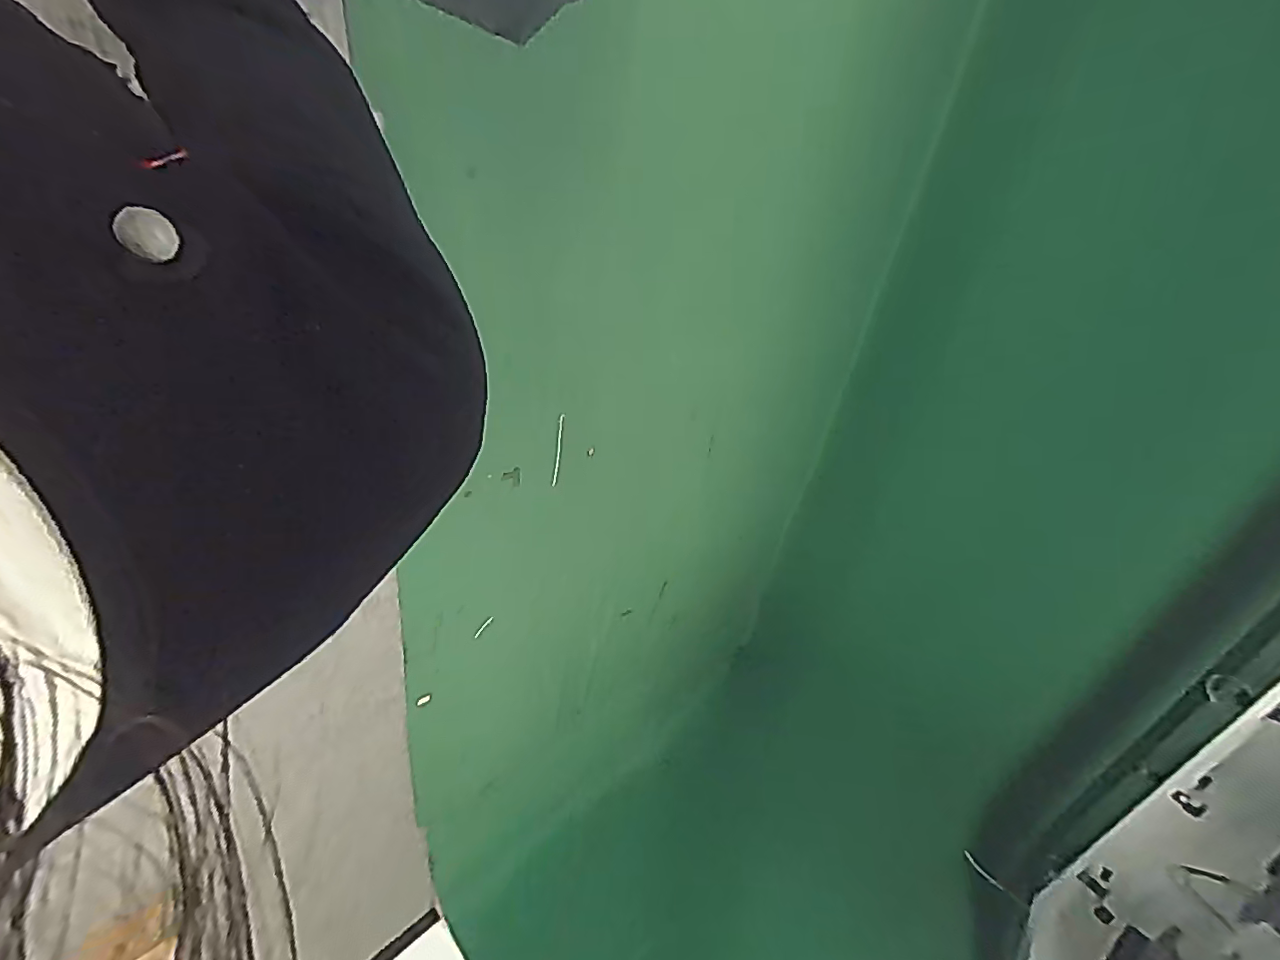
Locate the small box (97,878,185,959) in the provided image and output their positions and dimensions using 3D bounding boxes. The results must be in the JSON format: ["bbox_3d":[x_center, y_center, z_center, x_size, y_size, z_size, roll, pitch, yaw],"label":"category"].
[{"bbox_3d":[-1.571,1.418,1.700,0.179,0.176,0.168,-15,131,-45],"label":"small box"}]
